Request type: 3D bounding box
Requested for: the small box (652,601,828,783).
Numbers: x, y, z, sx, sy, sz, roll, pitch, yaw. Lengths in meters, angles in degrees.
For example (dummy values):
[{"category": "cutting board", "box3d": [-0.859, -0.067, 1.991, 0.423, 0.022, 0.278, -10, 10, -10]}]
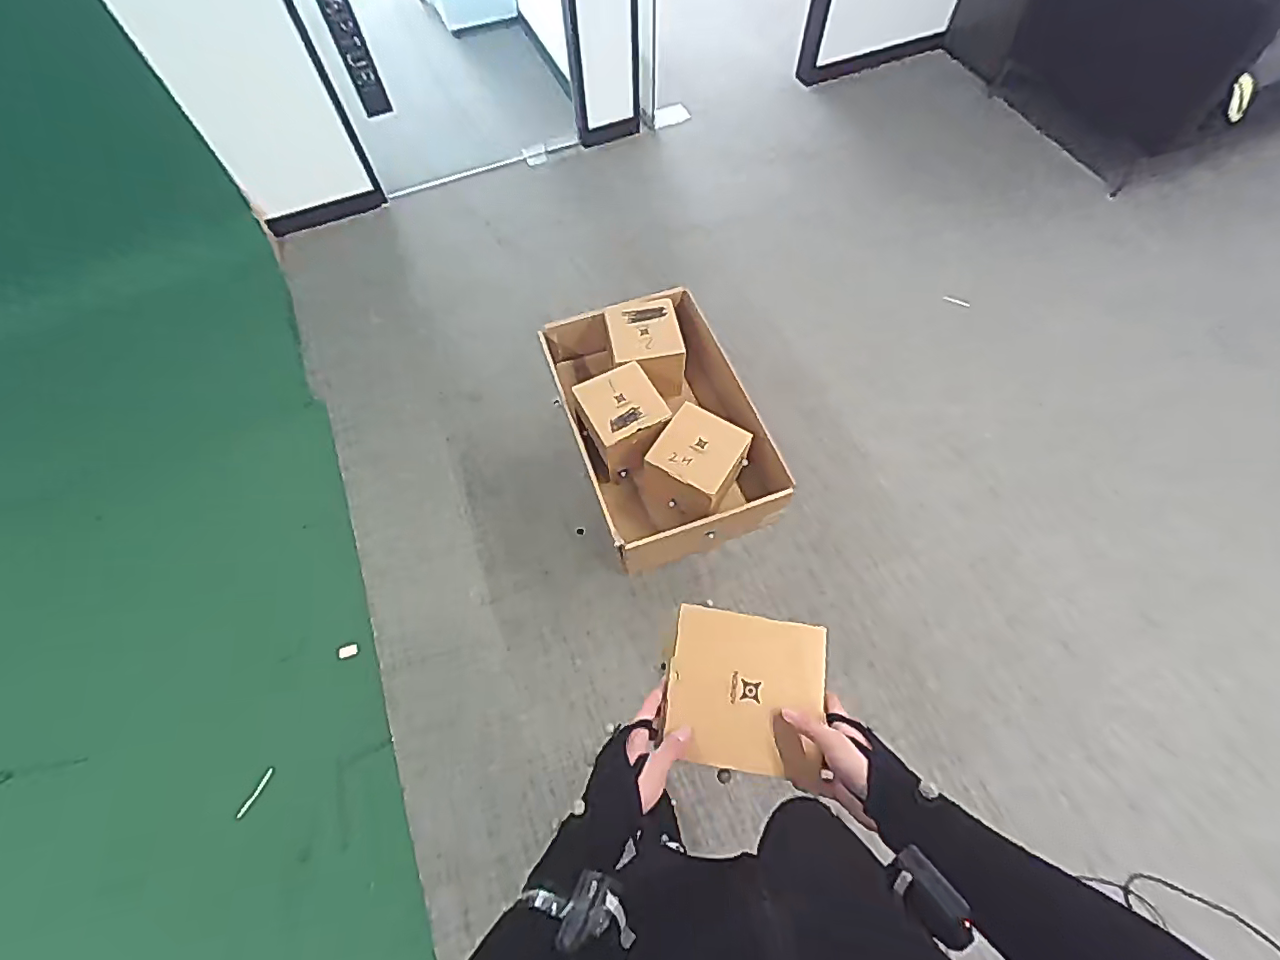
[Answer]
[{"category": "small box", "box3d": [0.114, 0.254, 0.670, 0.179, 0.176, 0.168, 9, 70, 3]}]
